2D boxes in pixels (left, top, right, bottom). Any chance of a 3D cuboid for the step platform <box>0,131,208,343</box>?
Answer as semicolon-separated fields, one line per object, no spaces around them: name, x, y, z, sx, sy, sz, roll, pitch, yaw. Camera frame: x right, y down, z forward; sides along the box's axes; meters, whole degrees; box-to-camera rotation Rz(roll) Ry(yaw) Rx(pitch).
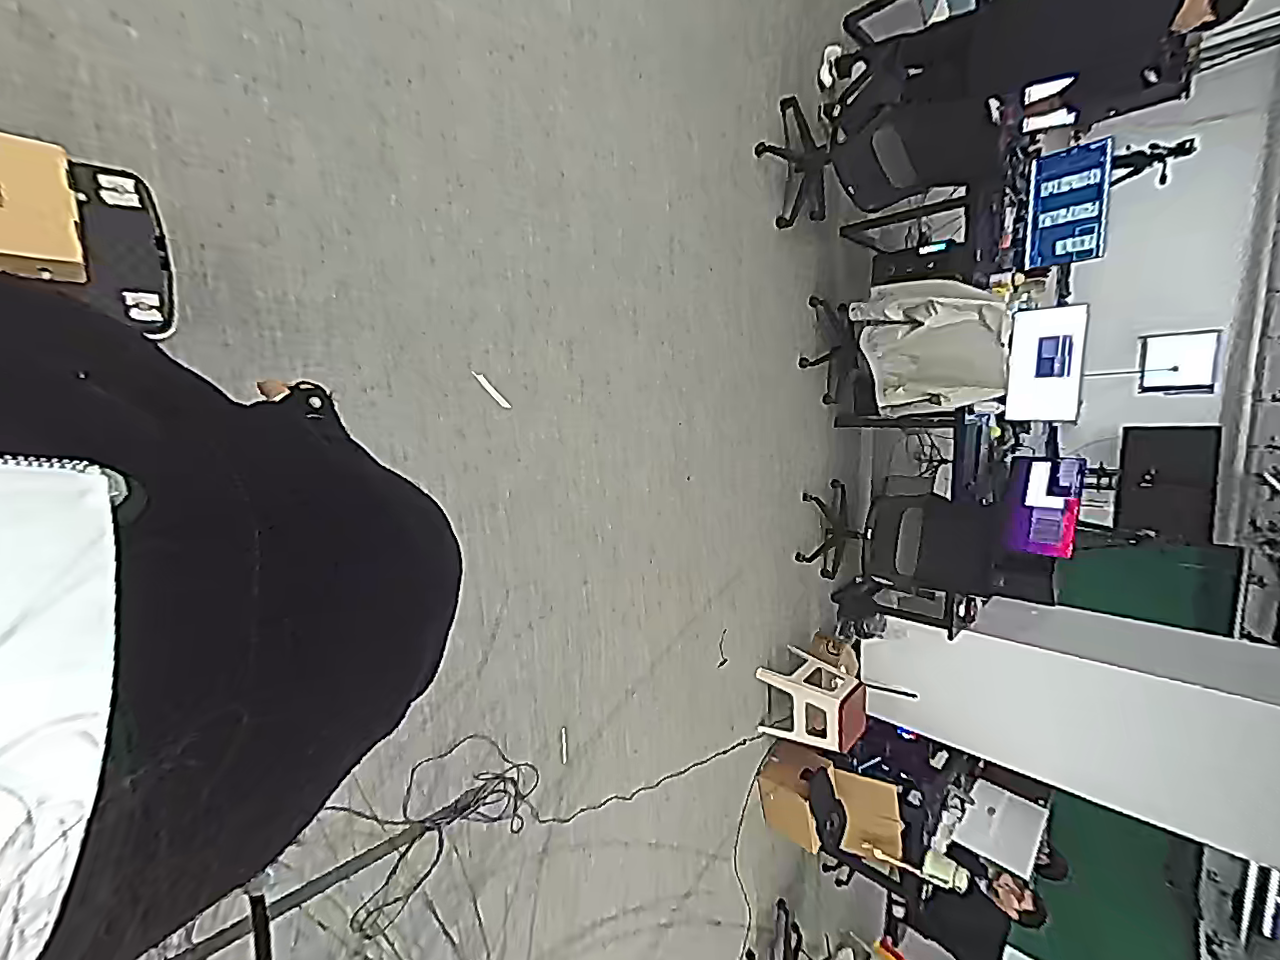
step platform;-1.004;-0.331;0.690;0.684;0.204;0.286;-13;103;-45

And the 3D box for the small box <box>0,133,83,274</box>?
small box;-0.952;-0.401;0.791;0.179;0.176;0.168;-10;101;-43
